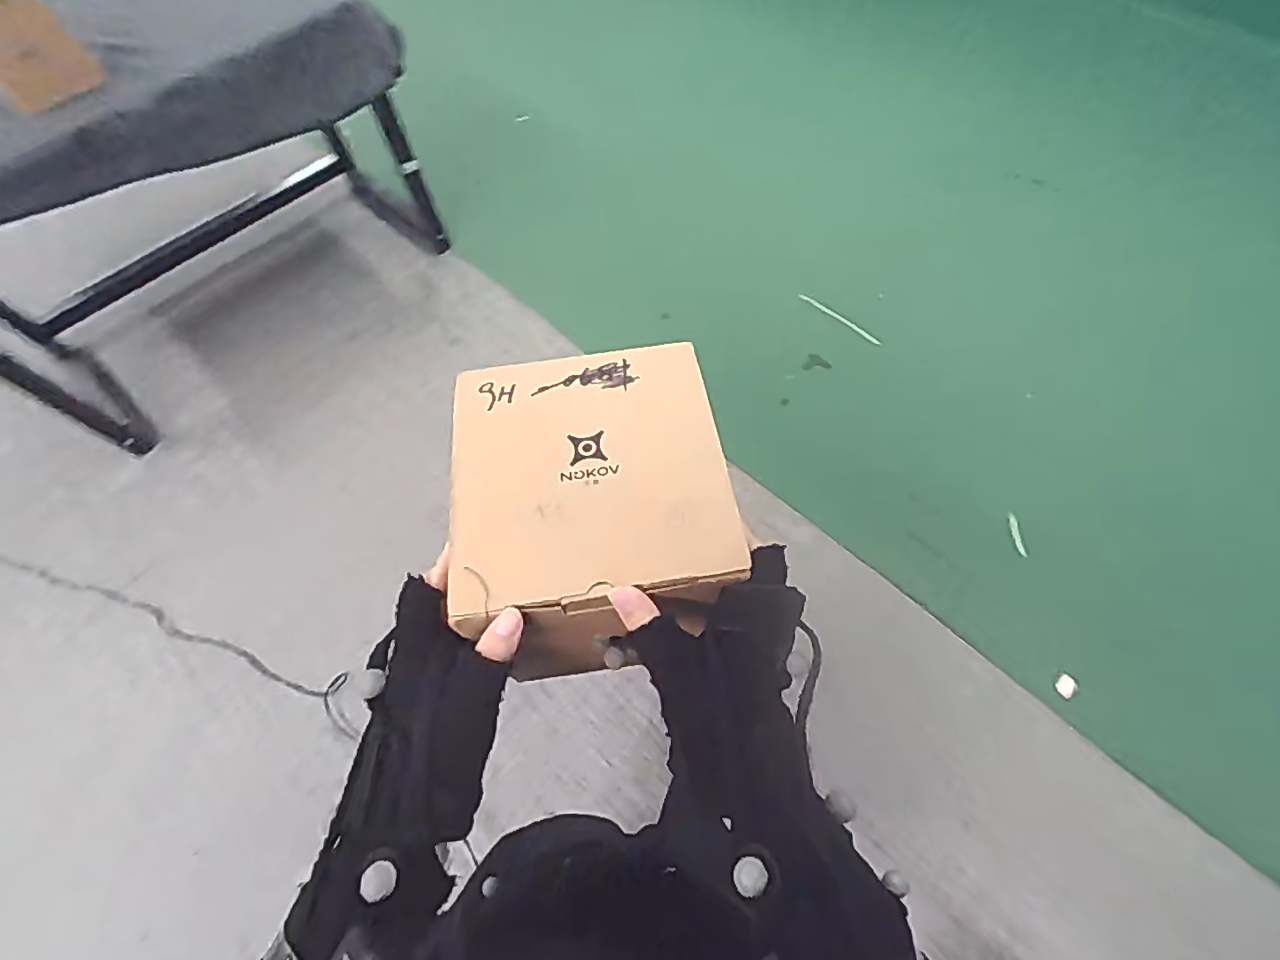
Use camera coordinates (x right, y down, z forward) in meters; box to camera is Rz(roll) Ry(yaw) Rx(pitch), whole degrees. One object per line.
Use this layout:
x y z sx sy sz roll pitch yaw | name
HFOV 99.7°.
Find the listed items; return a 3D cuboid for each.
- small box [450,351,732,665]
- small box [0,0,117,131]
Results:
-0.035 0.033 0.413 0.168 0.176 0.179 -9 59 -3 | small box
-1.248 -0.868 1.114 0.168 0.176 0.179 36 70 19 | small box
